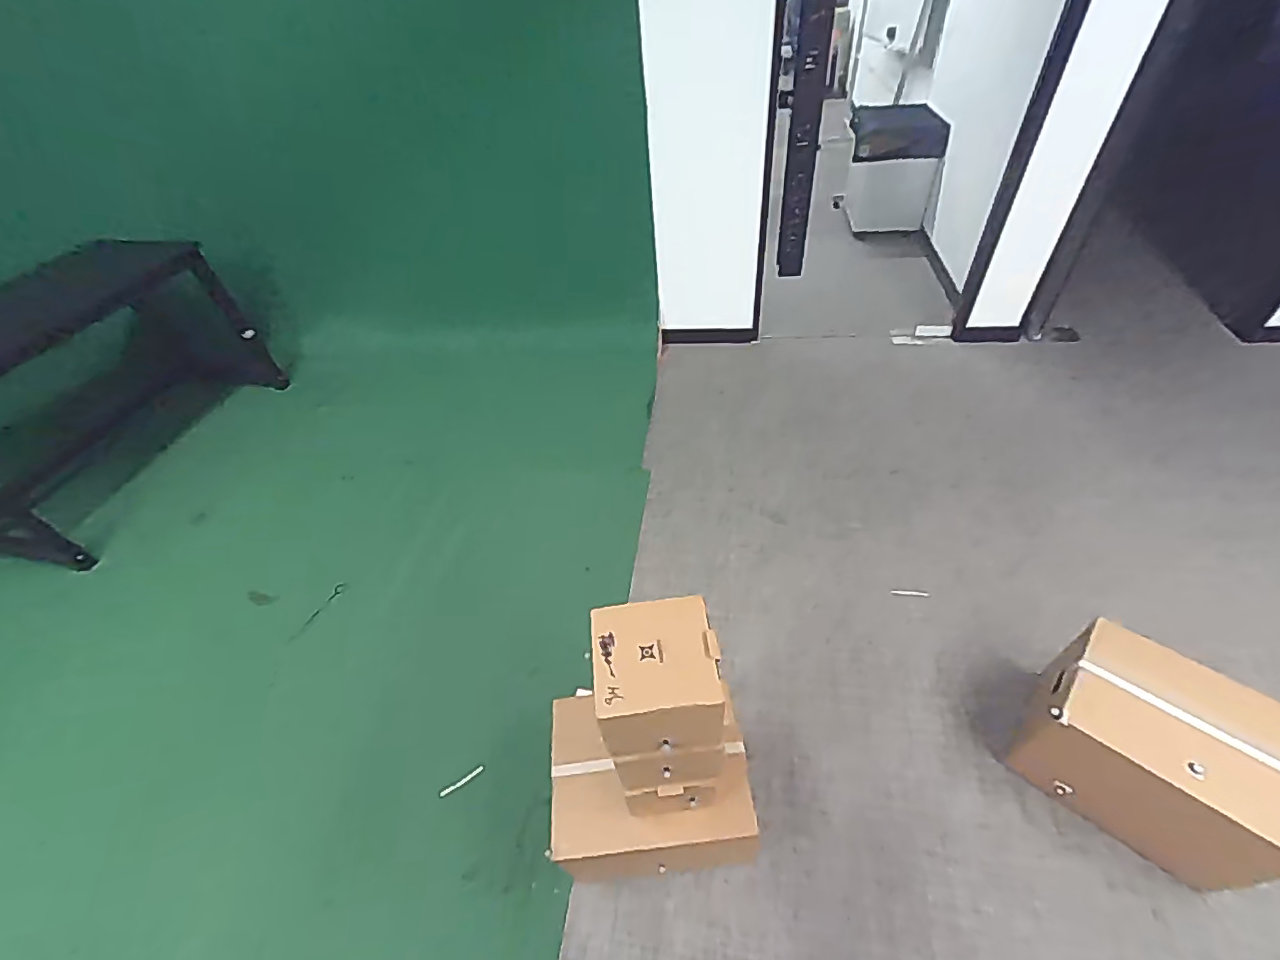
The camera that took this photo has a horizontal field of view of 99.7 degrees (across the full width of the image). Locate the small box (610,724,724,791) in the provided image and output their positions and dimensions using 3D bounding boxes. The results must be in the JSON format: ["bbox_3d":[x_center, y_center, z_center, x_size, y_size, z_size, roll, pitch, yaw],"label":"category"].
[{"bbox_3d":[0.039,0.416,0.931,0.179,0.176,0.168,-8,46,-1],"label":"small box"}]

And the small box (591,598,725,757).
[{"bbox_3d":[0.023,0.299,0.816,0.179,0.176,0.168,-6,45,-1],"label":"small box"}]

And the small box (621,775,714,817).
[{"bbox_3d":[0.050,0.533,1.045,0.168,0.176,0.179,-7,45,0],"label":"small box"}]

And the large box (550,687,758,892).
[{"bbox_3d":[0.027,0.699,1.227,0.408,0.320,0.320,-8,44,0],"label":"large box"}]
